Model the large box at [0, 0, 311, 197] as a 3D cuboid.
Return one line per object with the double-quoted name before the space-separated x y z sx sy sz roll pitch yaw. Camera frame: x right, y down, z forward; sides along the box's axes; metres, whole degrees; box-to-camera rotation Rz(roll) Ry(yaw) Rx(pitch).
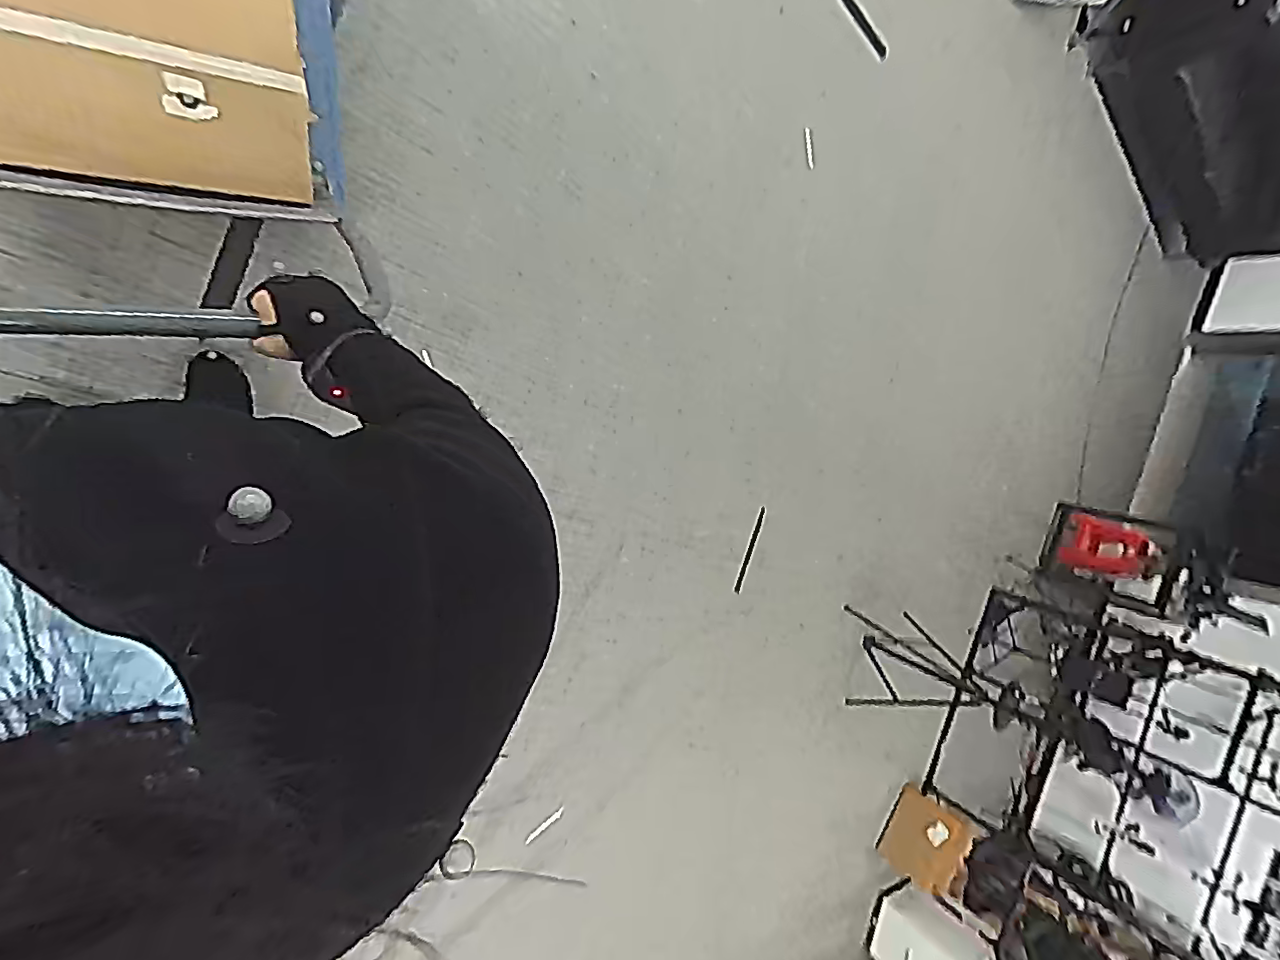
"large box" -0.746 -0.618 0.780 0.408 0.320 0.320 -11 125 -34
